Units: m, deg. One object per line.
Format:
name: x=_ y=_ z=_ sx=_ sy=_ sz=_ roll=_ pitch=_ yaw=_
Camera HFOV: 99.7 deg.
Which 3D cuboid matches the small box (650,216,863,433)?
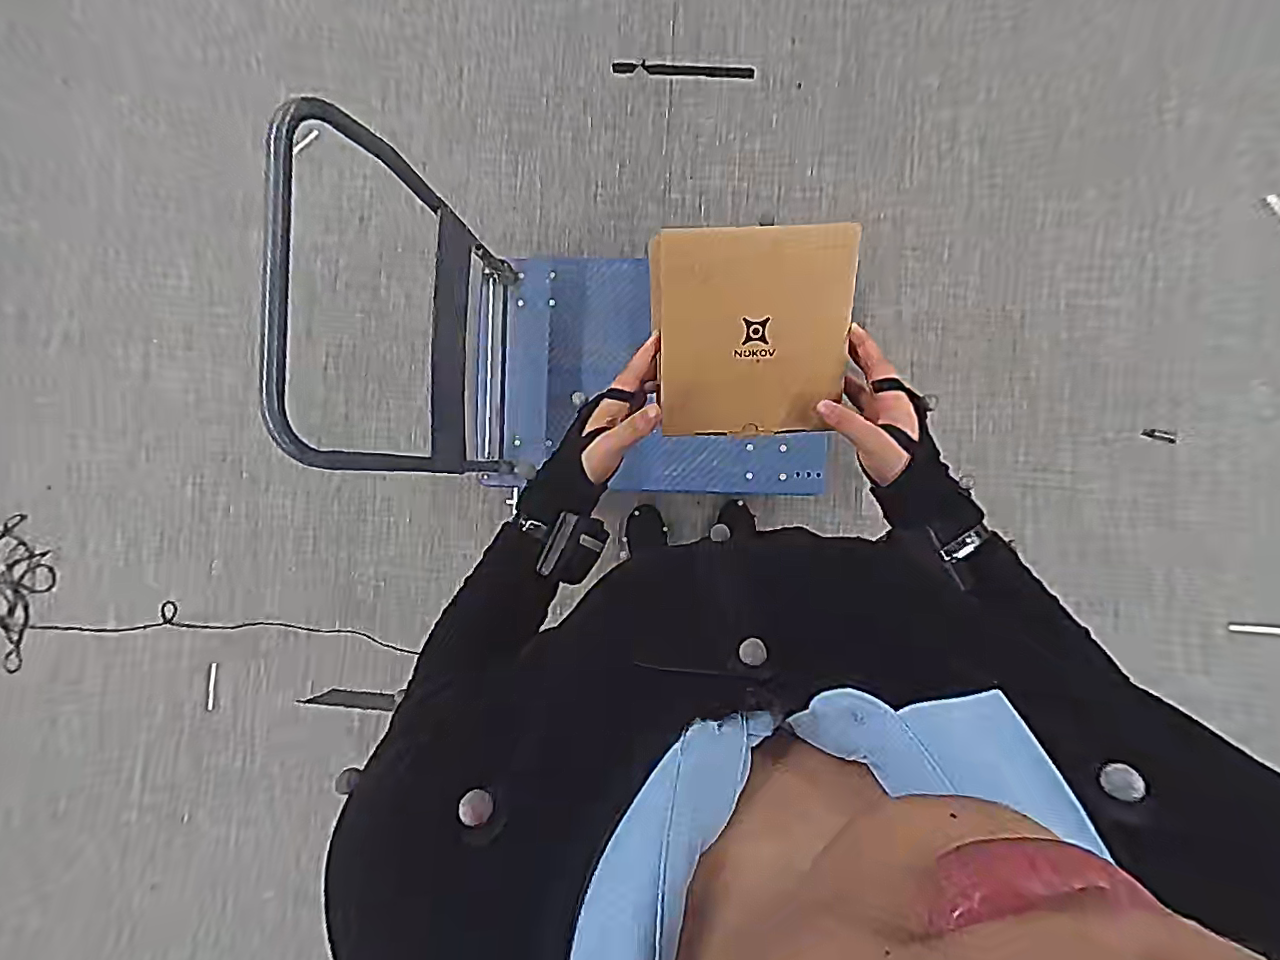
small box: x=0.097 y=-0.156 z=0.533 sx=0.168 sy=0.176 sz=0.179 roll=-2 pitch=113 yaw=-1
